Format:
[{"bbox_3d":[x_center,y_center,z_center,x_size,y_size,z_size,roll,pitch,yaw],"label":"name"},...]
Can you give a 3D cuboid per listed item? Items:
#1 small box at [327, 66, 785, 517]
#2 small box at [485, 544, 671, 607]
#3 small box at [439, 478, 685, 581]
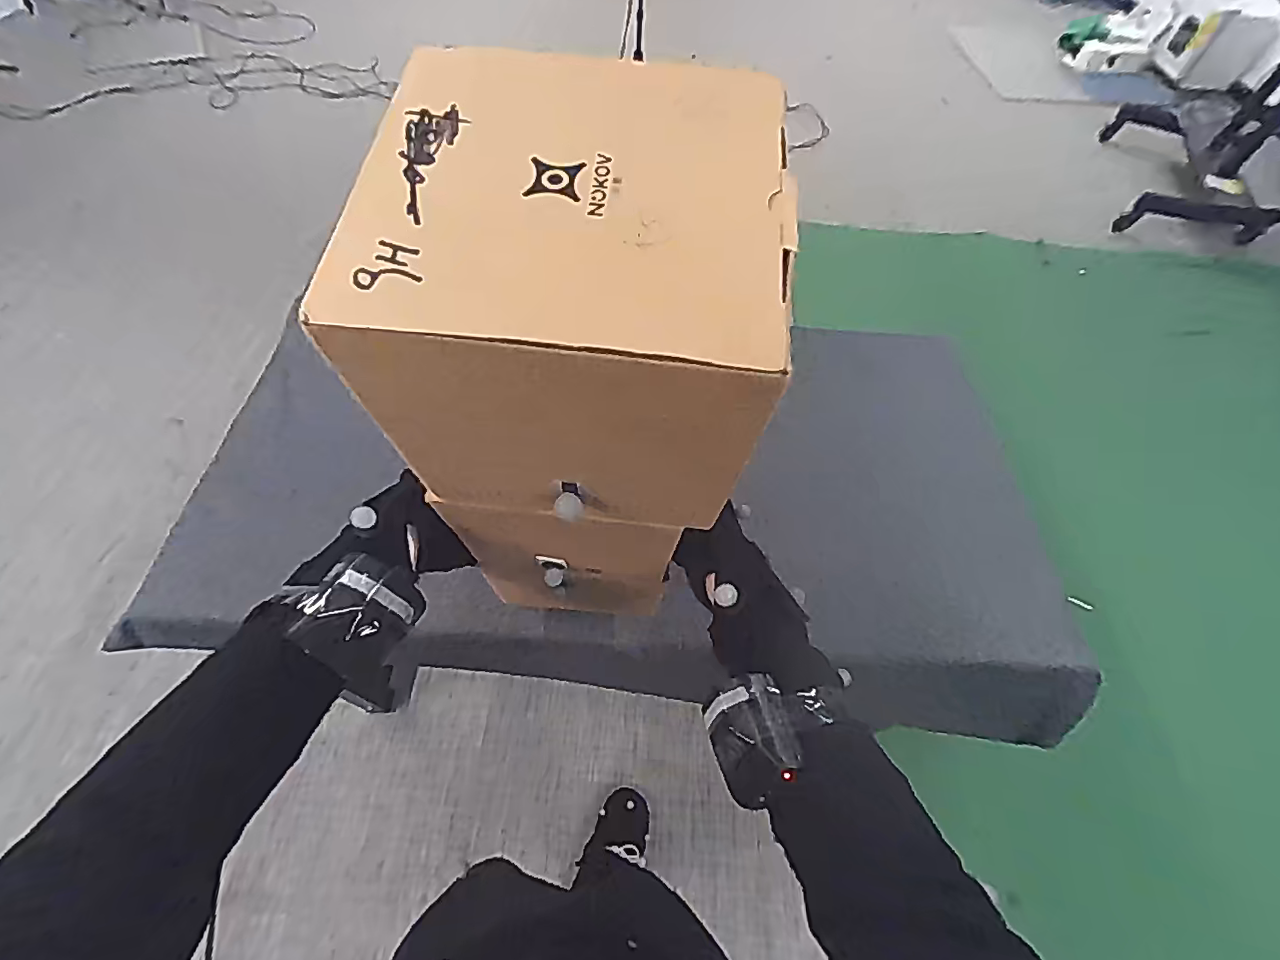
[{"bbox_3d":[-0.029,-0.087,0.308,0.179,0.176,0.168,6,65,-1],"label":"small box"},{"bbox_3d":[-0.056,0.042,0.605,0.179,0.176,0.168,5,66,-2],"label":"small box"},{"bbox_3d":[-0.047,-0.026,0.459,0.168,0.176,0.179,7,66,0],"label":"small box"}]
